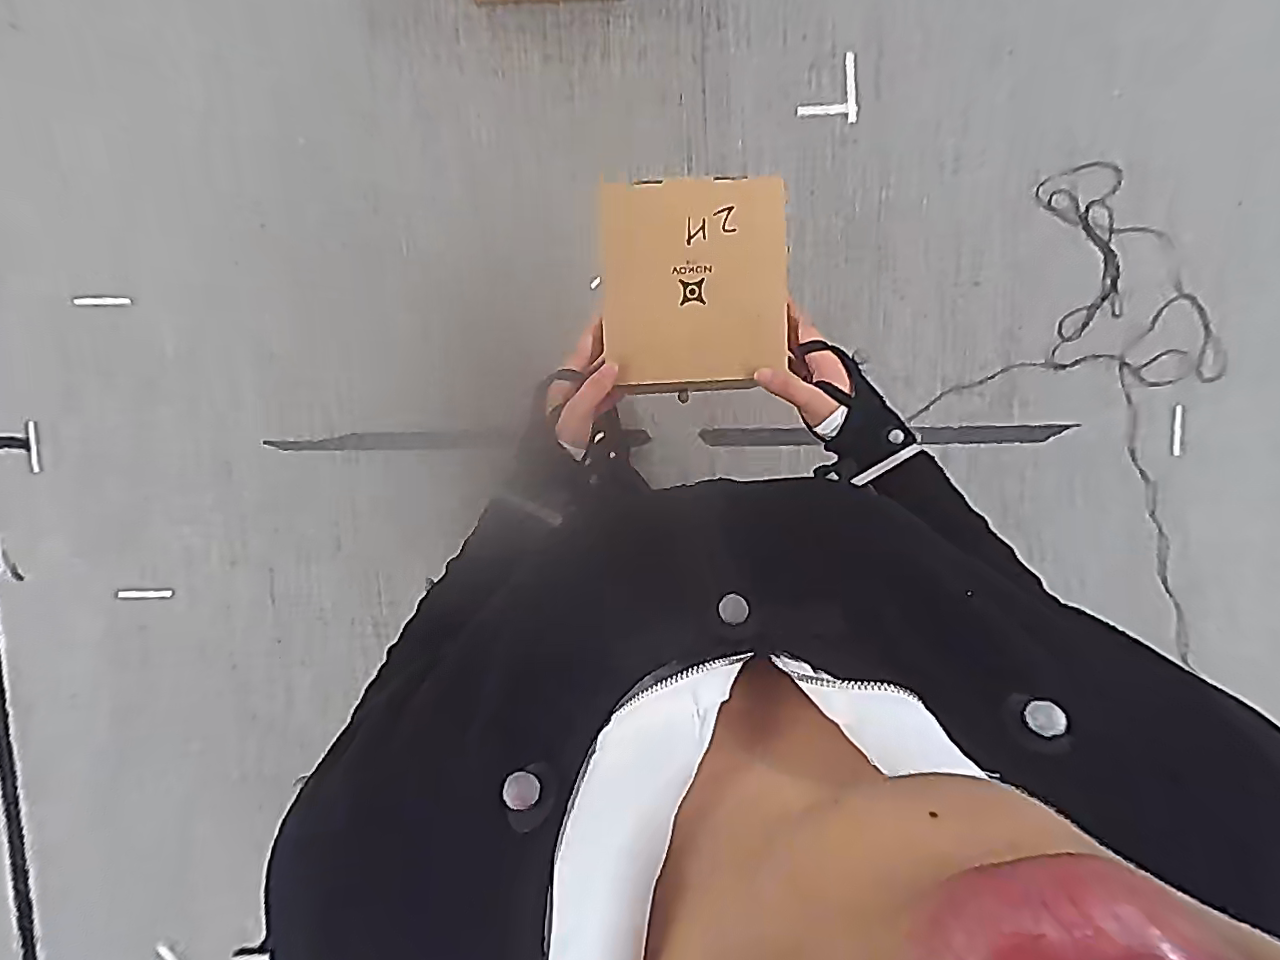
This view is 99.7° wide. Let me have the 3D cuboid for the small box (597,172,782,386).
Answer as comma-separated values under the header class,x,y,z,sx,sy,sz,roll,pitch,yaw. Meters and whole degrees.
class,x,y,z,sx,sy,sz,roll,pitch,yaw
small box,0.046,-0.191,0.565,0.168,0.176,0.179,-3,95,-1
